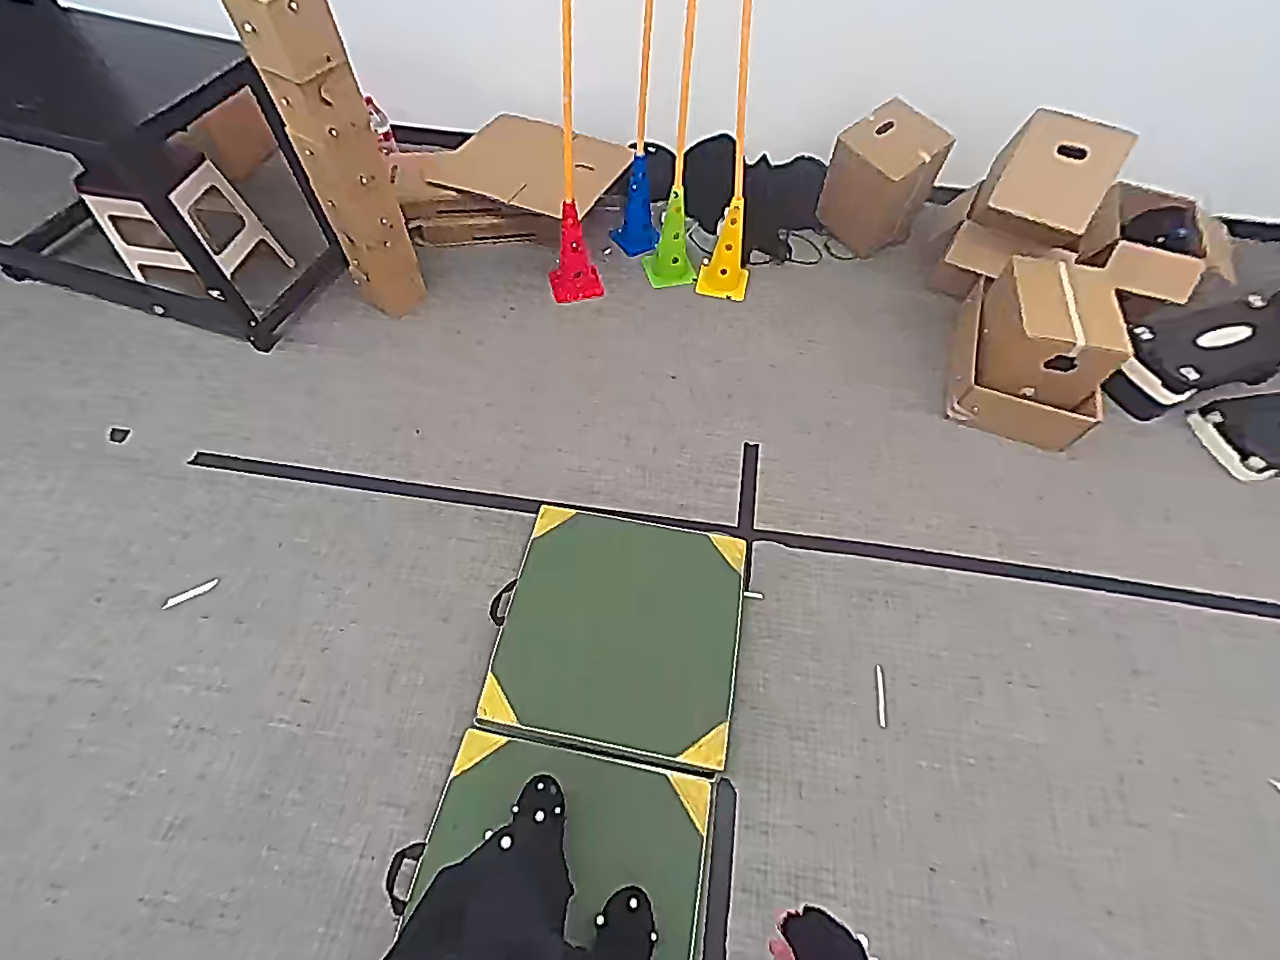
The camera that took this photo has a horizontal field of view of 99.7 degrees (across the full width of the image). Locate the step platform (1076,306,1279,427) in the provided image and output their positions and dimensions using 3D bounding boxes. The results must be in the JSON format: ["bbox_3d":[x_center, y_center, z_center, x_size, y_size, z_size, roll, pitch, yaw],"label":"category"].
[{"bbox_3d":[2.014,-0.427,1.992,0.684,0.204,0.286,-16,61,-11],"label":"step platform"}]
